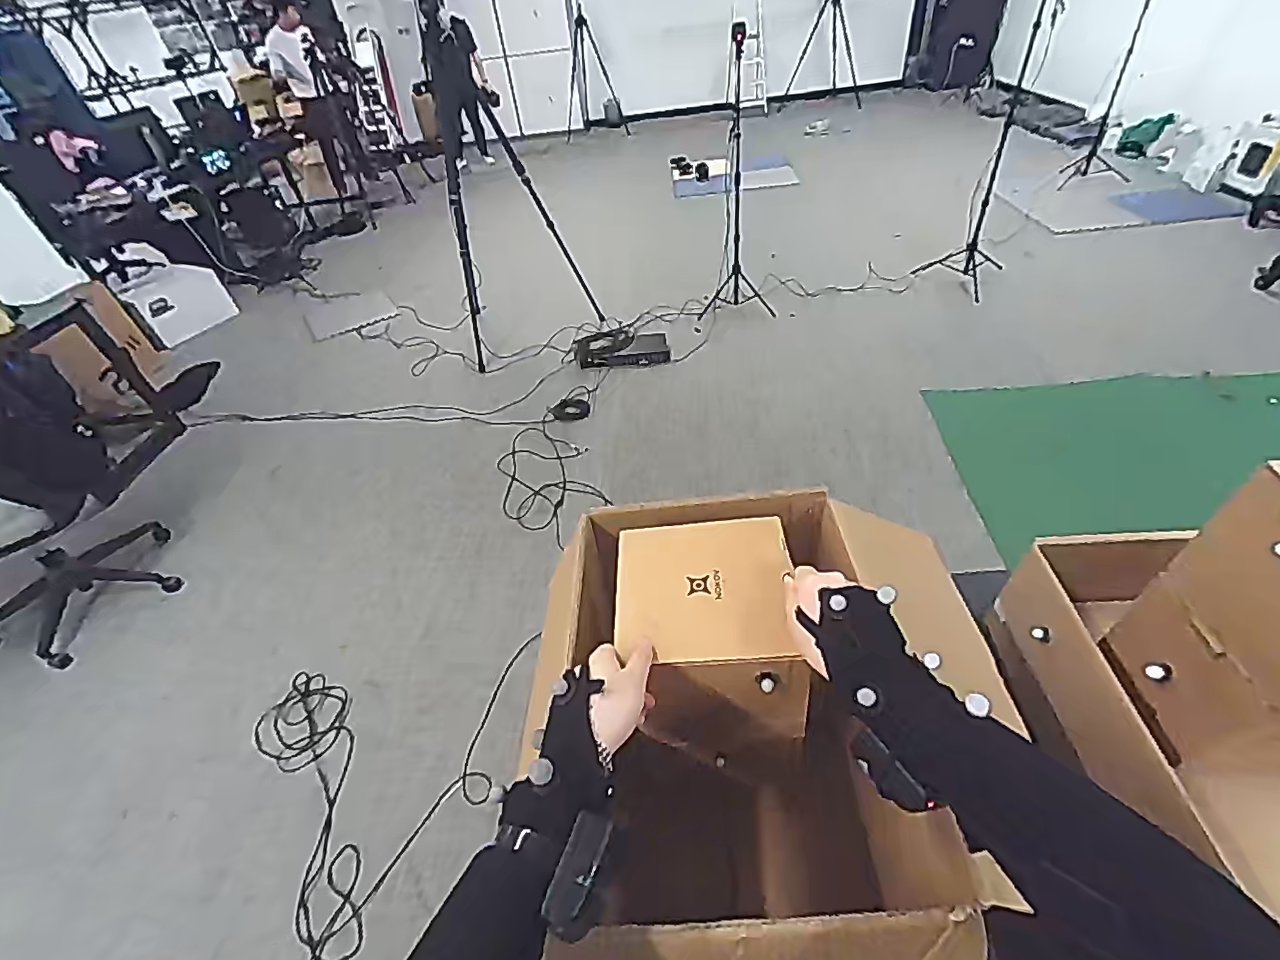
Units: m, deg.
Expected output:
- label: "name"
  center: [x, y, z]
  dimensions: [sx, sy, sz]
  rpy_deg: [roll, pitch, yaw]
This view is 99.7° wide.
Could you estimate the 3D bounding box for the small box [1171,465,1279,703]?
- label: "small box"
  center: [0.678, 0.102, 0.509]
  dimensions: [0.168, 0.176, 0.179]
  rpy_deg: [-3, 45, 7]
